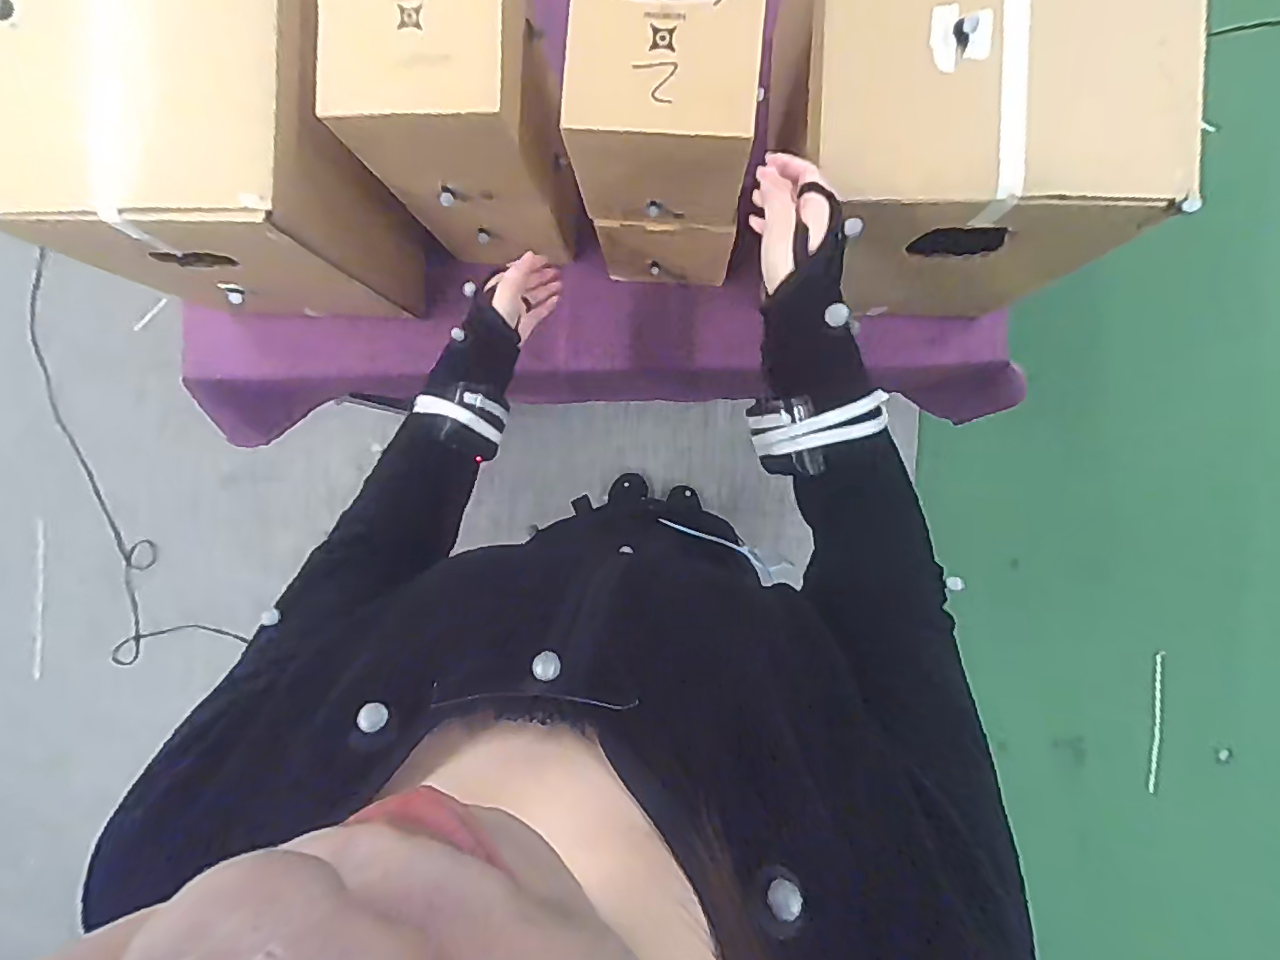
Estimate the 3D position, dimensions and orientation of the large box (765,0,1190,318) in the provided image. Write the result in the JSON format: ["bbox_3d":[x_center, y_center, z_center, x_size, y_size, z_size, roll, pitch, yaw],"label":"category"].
[{"bbox_3d":[0.332,-0.433,0.623,0.320,0.320,0.408,3,91,3],"label":"large box"}]
